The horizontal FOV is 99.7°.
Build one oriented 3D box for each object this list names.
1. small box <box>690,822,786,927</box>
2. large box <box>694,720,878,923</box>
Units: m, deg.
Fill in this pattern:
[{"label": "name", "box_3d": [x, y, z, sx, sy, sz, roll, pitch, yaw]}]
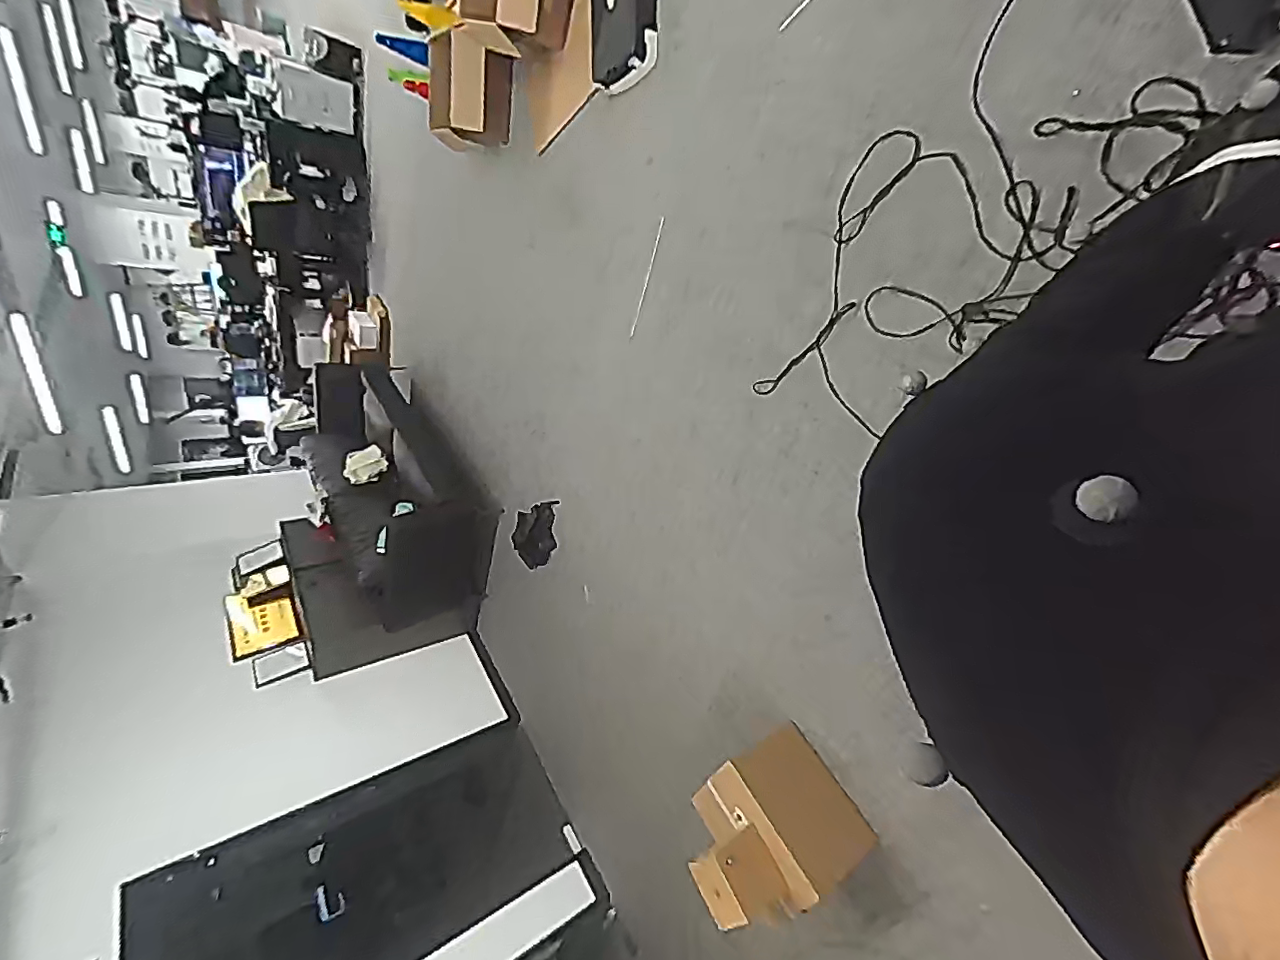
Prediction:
[{"label": "small box", "box_3d": [0.282, 1.128, 1.550, 0.179, 0.176, 0.168, 57, 138, 29]}, {"label": "large box", "box_3d": [0.451, 1.066, 1.719, 0.408, 0.320, 0.320, 52, 134, 34]}]
